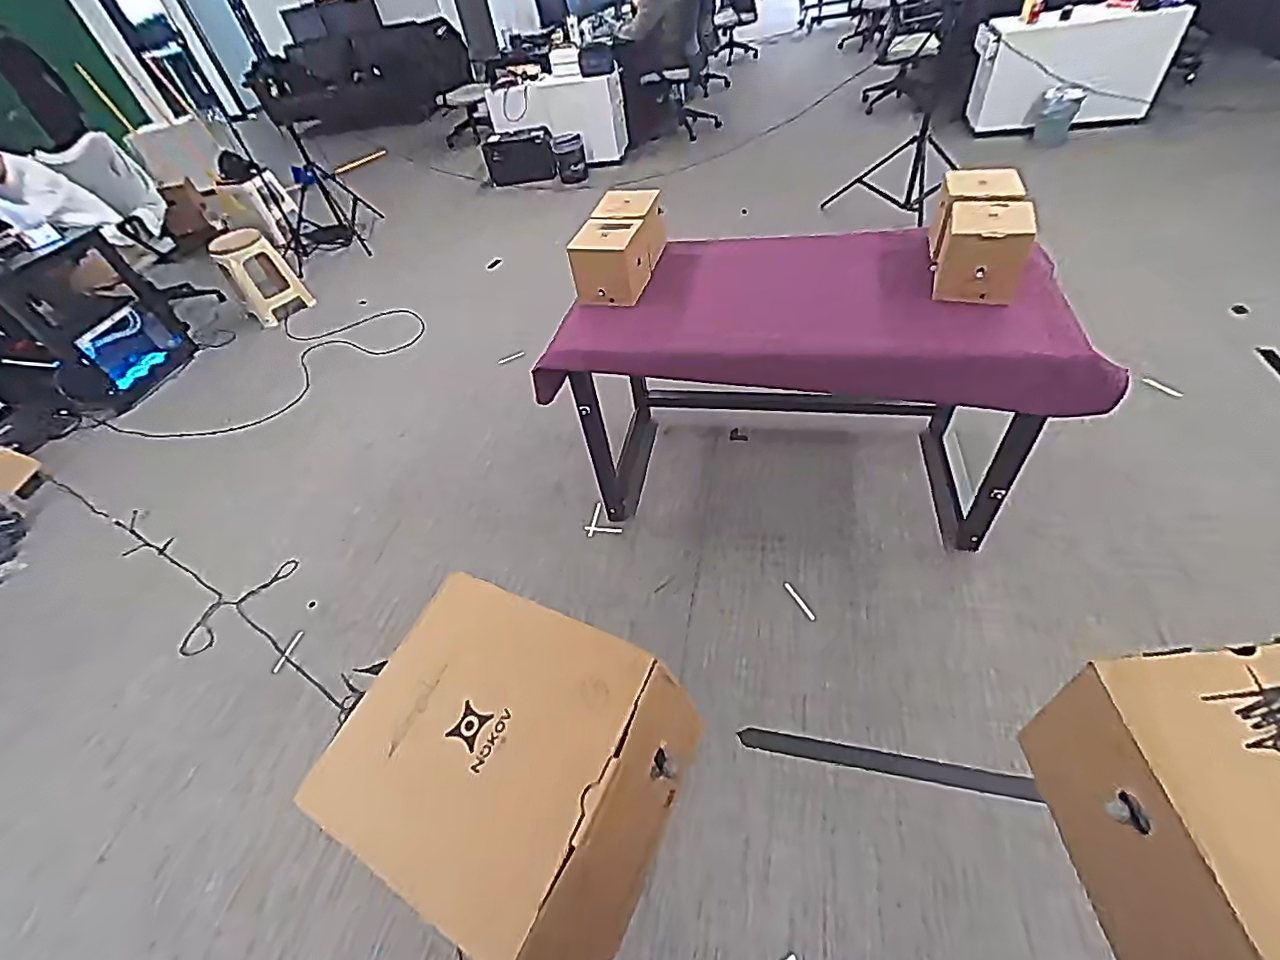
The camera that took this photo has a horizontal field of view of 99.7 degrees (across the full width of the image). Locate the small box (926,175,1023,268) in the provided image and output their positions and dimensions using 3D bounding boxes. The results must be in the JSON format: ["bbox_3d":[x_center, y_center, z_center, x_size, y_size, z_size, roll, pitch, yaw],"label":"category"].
[{"bbox_3d":[0.858,-0.674,1.406,0.168,0.176,0.179,7,49,16],"label":"small box"}]

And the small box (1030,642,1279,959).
[{"bbox_3d":[0.381,0.217,0.328,0.168,0.176,0.179,-11,48,9],"label":"small box"}]

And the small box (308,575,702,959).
[{"bbox_3d":[-0.072,0.198,0.383,0.179,0.176,0.168,14,57,28],"label":"small box"}]

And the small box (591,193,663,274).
[{"bbox_3d":[-0.032,-0.742,1.624,0.168,0.176,0.179,7,50,16],"label":"small box"}]
